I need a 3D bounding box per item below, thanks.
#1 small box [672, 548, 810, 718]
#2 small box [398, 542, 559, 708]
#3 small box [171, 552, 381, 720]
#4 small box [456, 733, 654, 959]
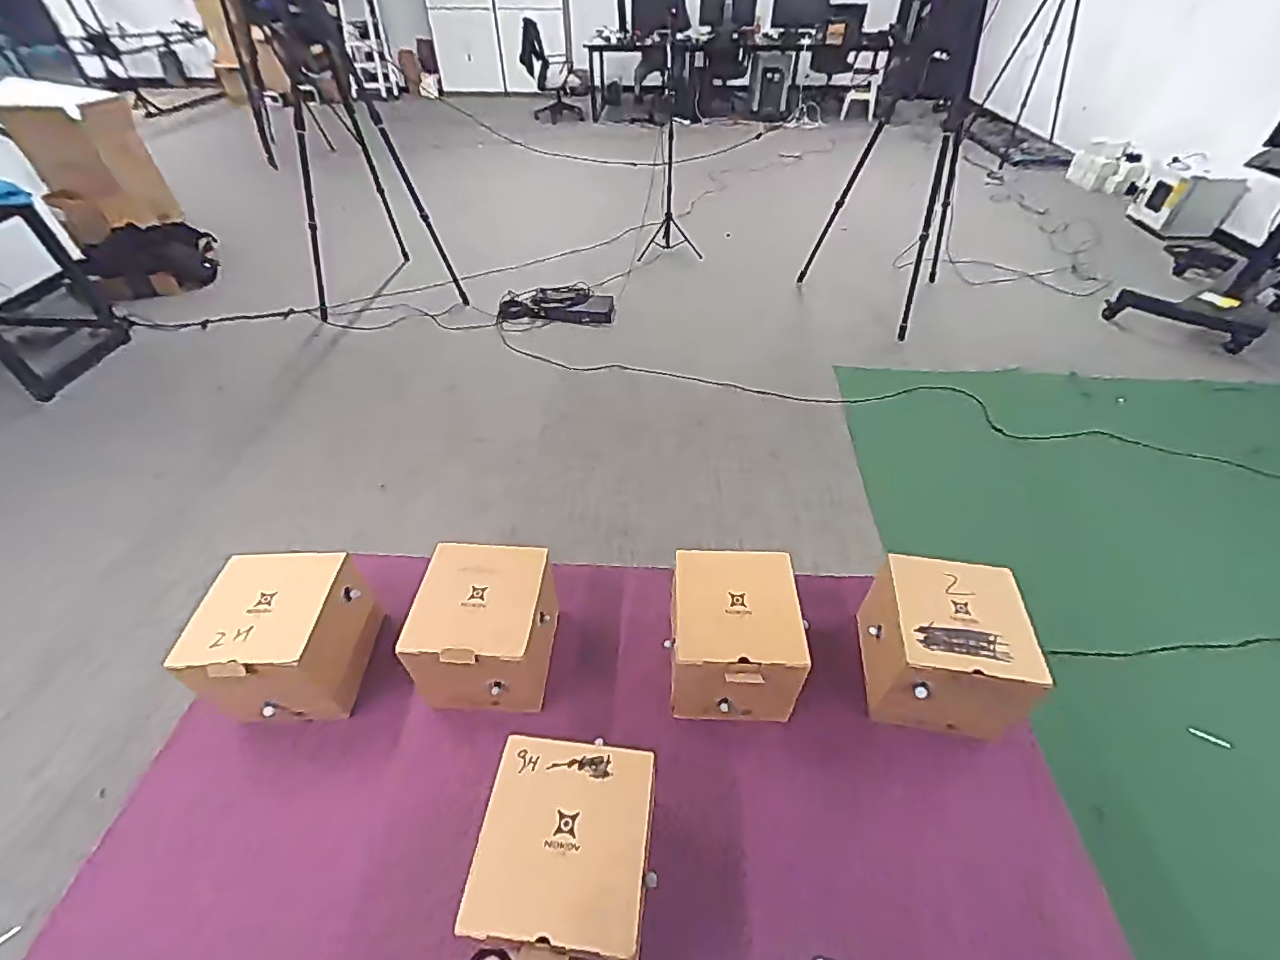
[{"bbox_3d":[0.131,0.218,0.778,0.168,0.176,0.179,1,45,2],"label":"small box"},{"bbox_3d":[-0.218,0.214,0.789,0.168,0.176,0.179,3,45,2],"label":"small box"},{"bbox_3d":[-0.499,0.224,0.781,0.168,0.176,0.179,-2,45,-1],"label":"small box"},{"bbox_3d":[-0.074,0.405,0.591,0.168,0.176,0.179,5,45,5],"label":"small box"}]
